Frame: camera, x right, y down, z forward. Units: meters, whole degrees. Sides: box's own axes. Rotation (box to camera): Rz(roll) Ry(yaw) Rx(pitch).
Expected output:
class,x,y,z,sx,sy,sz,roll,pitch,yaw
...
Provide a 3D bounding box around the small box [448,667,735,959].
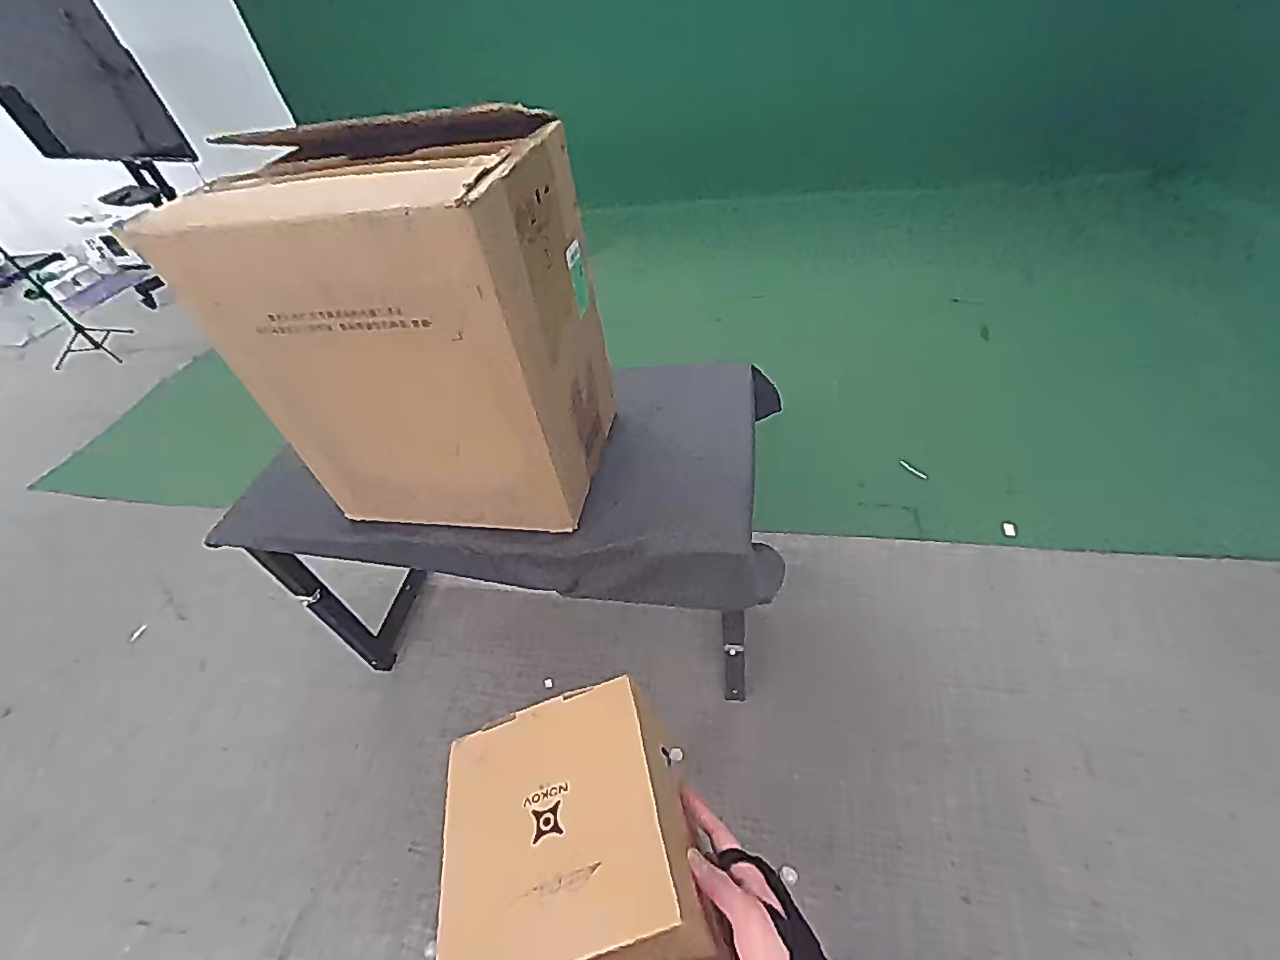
class,x,y,z,sx,sy,sz,roll,pitch,yaw
small box,-0.037,0.295,0.446,0.168,0.176,0.179,-22,39,1
